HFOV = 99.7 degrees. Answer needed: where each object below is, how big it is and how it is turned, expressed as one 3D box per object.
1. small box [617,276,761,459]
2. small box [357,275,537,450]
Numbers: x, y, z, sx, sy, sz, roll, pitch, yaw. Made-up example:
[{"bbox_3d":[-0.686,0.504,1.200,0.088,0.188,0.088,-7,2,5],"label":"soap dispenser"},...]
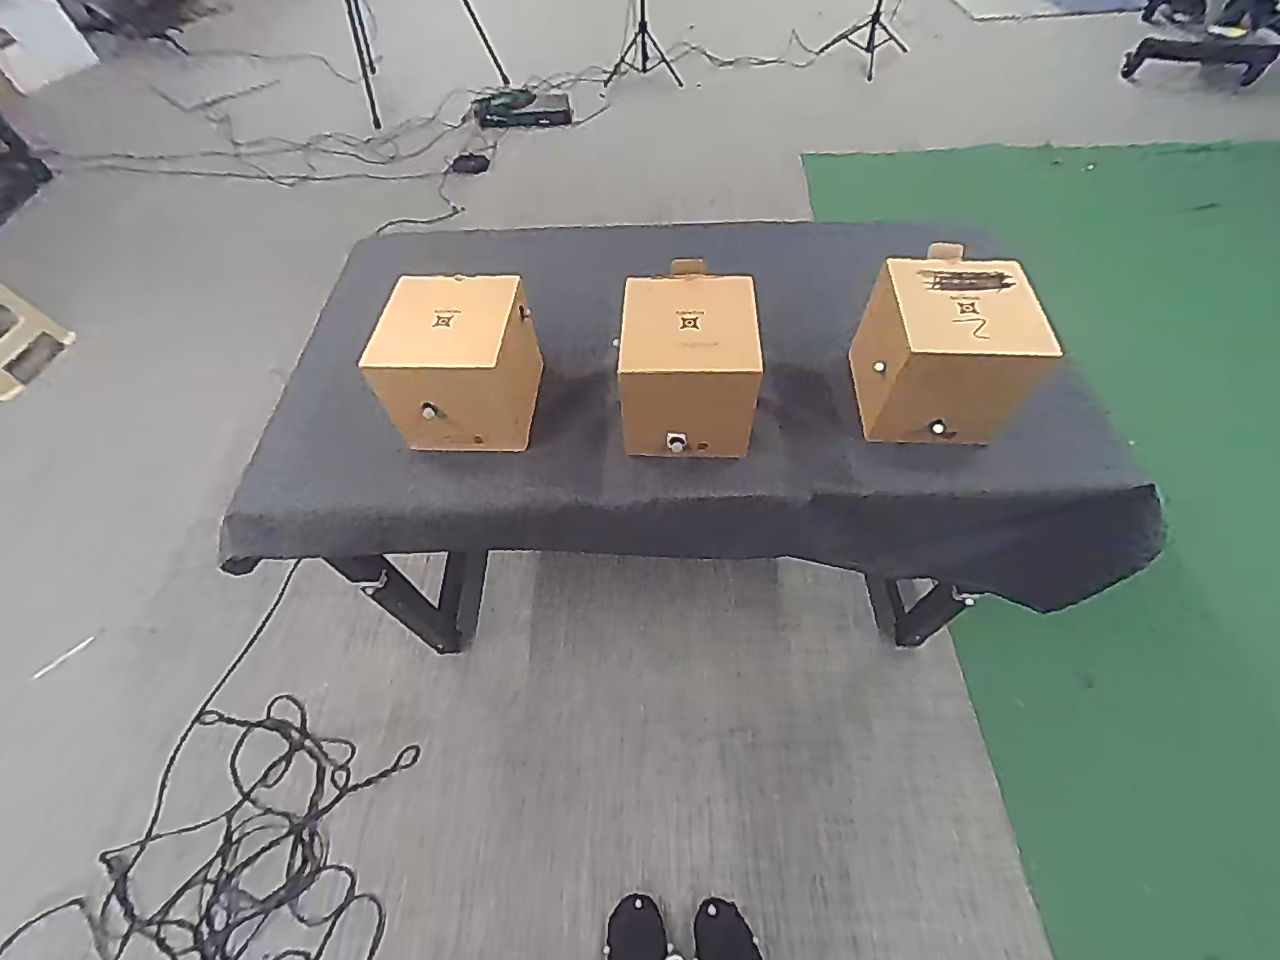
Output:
[{"bbox_3d":[0.061,-0.148,0.721,0.168,0.176,0.179,-1,56,3],"label":"small box"},{"bbox_3d":[-0.244,-0.155,0.738,0.168,0.176,0.179,0,55,3],"label":"small box"}]
